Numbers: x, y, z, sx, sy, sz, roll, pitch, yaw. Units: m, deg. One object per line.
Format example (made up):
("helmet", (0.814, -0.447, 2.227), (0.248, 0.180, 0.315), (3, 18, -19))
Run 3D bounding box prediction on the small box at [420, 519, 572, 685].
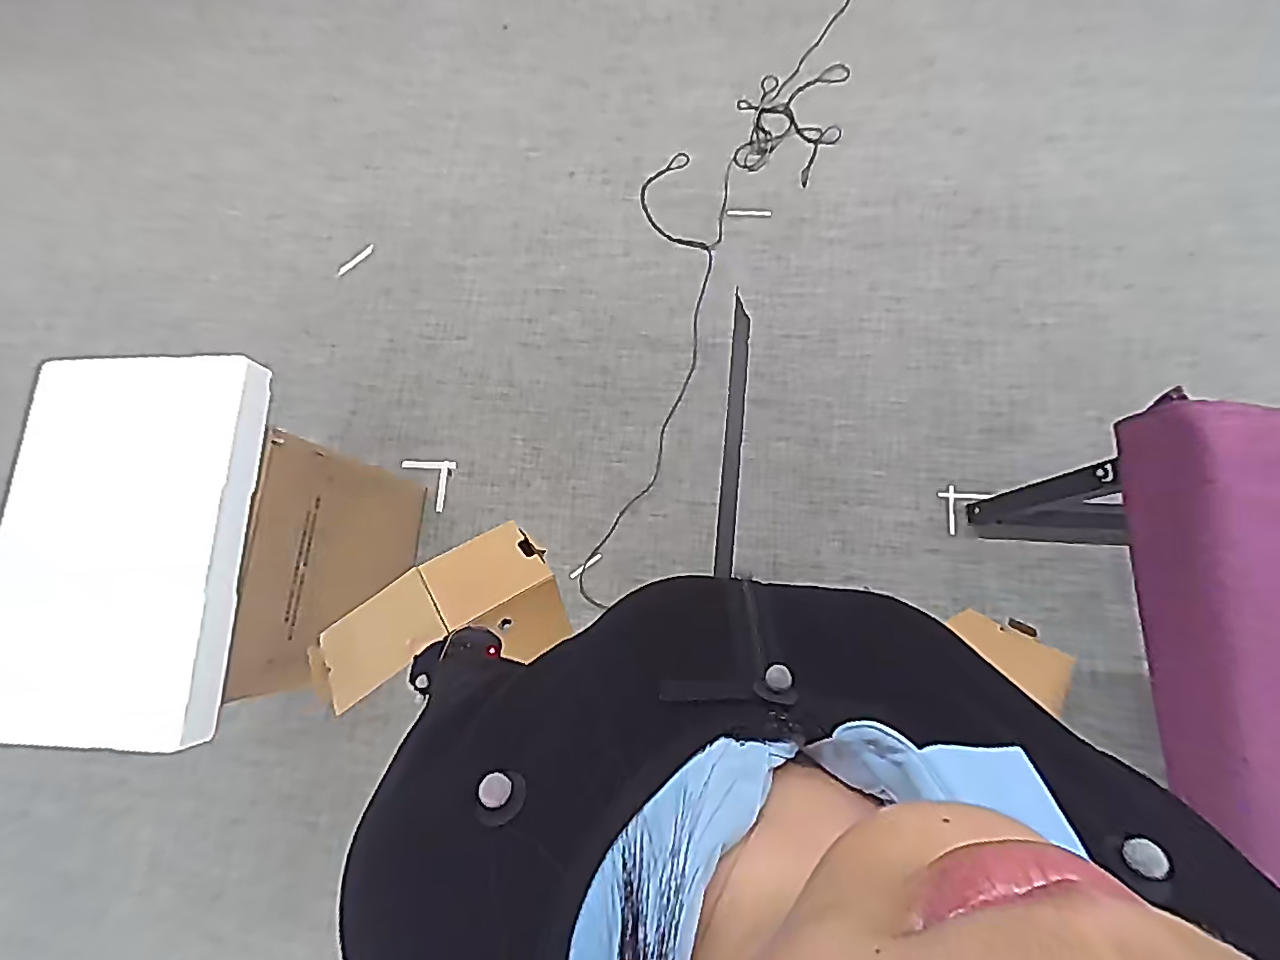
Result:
("small box", (-0.236, 0.205, 0.905), (0.179, 0.176, 0.168), (-27, 43, -22))
